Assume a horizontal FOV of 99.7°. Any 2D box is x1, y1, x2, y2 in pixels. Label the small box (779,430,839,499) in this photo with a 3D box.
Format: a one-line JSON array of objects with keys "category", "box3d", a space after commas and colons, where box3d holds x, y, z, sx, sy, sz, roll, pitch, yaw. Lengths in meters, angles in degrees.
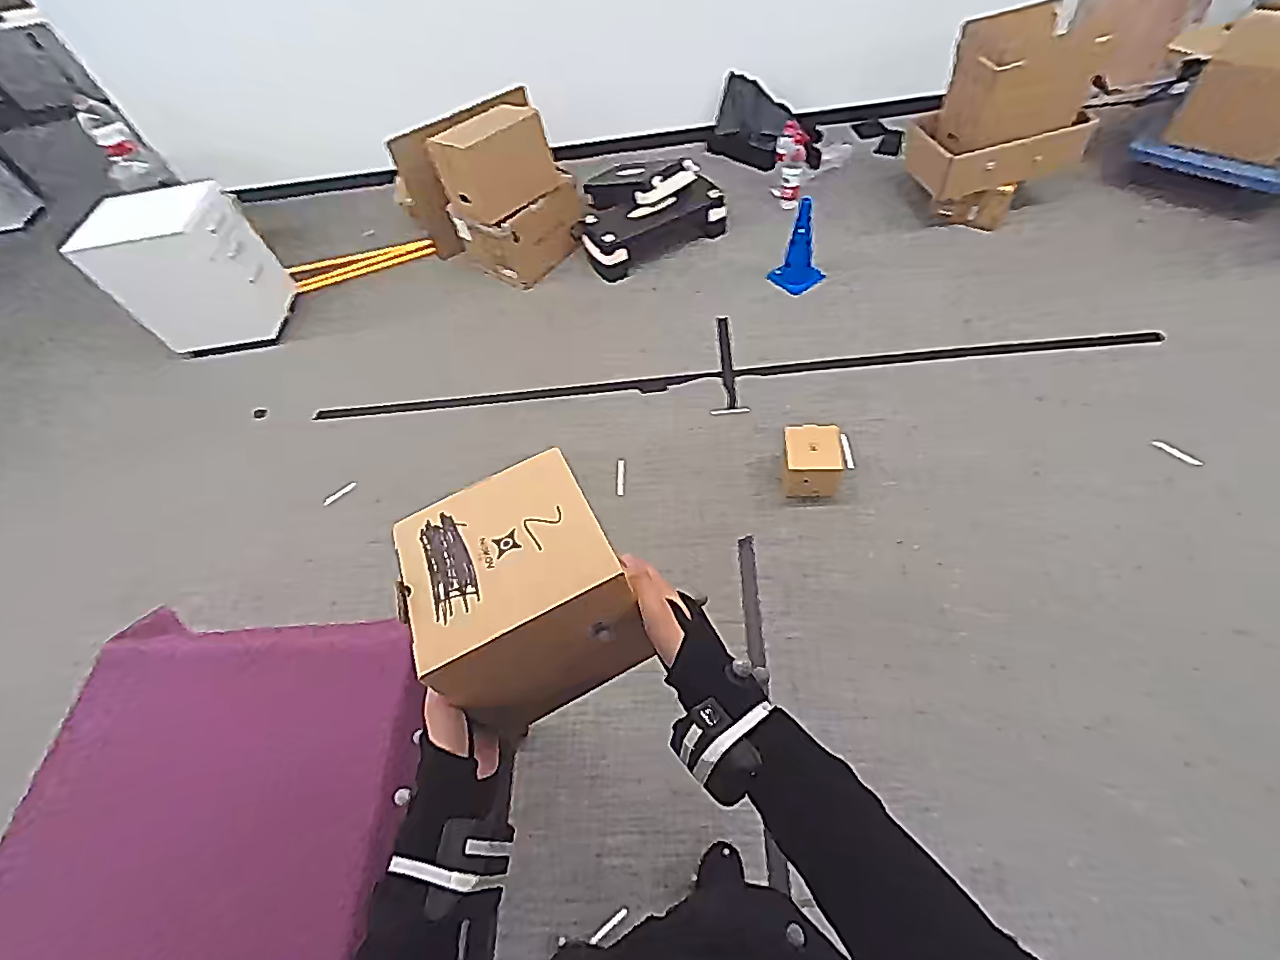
[{"category": "small box", "box3d": [0.555, -0.048, 1.793, 0.168, 0.176, 0.179, 0, 56, 8]}]
